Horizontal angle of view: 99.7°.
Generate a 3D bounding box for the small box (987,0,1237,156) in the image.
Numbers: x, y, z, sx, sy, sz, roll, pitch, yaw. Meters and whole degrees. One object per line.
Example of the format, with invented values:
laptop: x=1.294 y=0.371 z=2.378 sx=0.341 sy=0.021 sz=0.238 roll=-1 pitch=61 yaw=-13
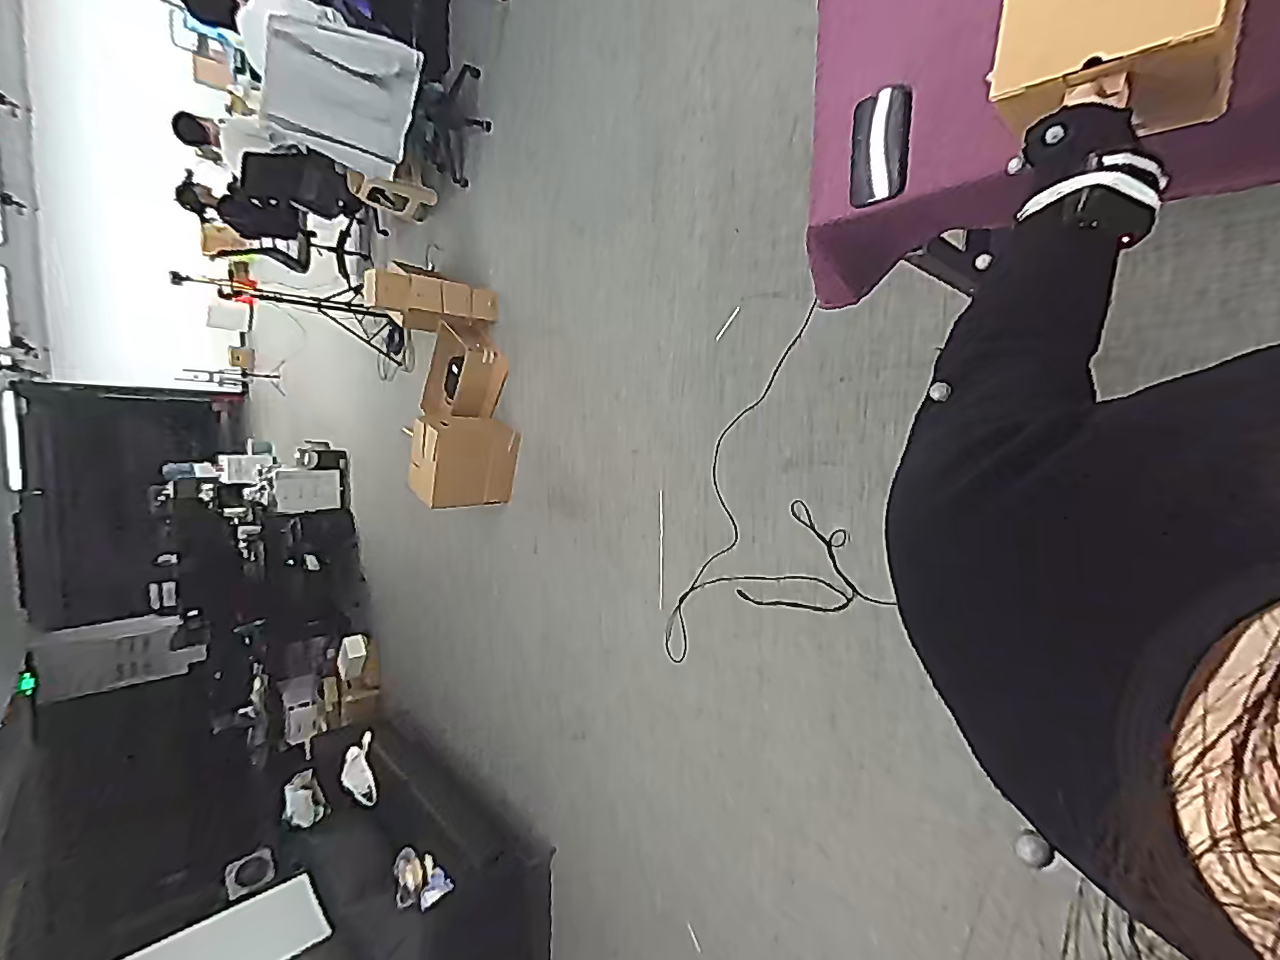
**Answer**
small box: x=0.475 y=-0.464 z=0.541 sx=0.168 sy=0.176 sz=0.179 roll=12 pitch=101 yaw=45
